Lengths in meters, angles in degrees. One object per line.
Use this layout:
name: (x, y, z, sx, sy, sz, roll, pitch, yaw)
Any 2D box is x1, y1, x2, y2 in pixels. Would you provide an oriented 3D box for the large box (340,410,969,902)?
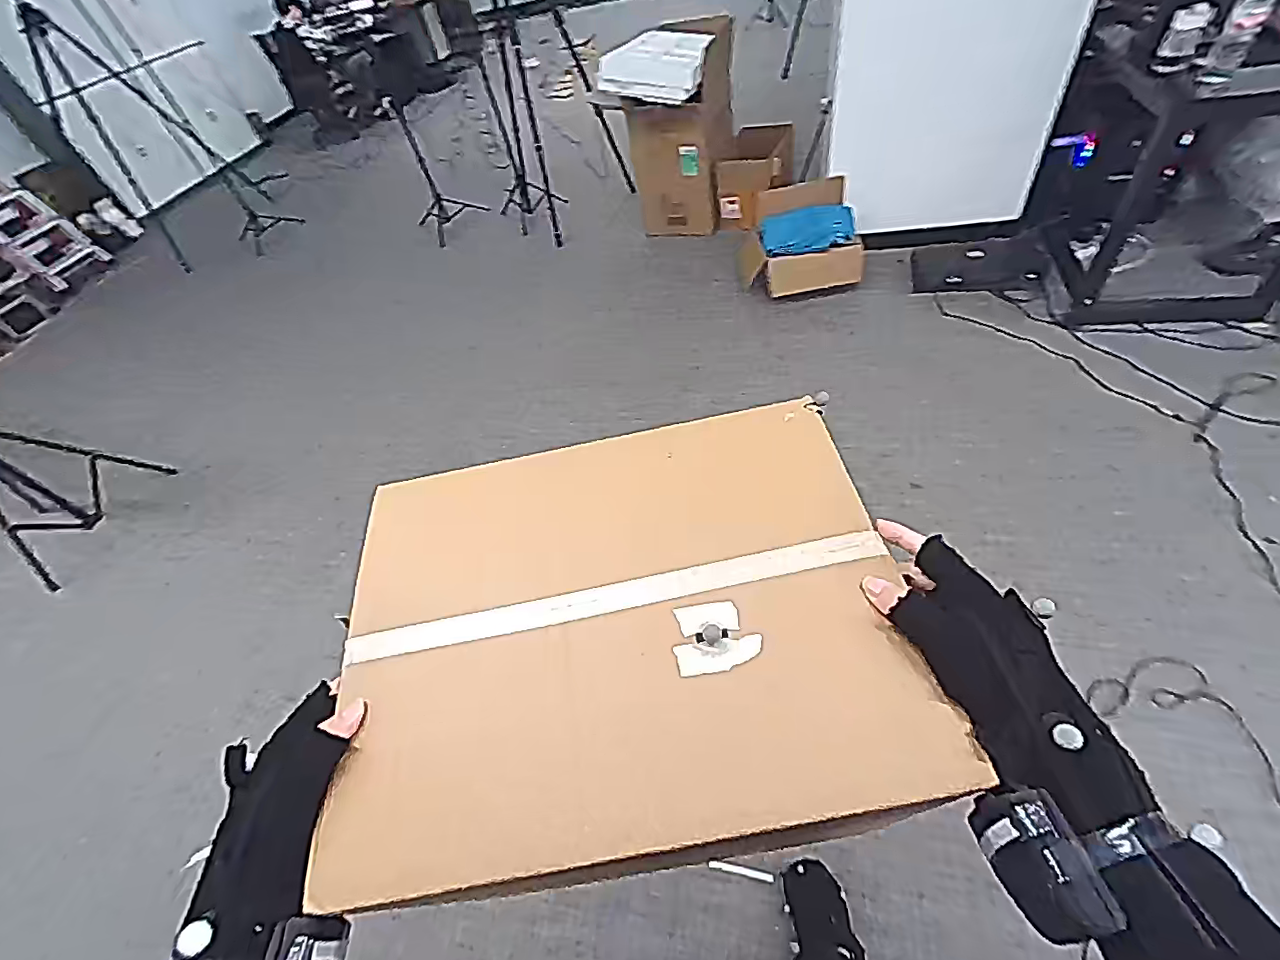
large box: (0.003, 0.182, 0.535, 0.408, 0.320, 0.320, -12, 53, 1)
